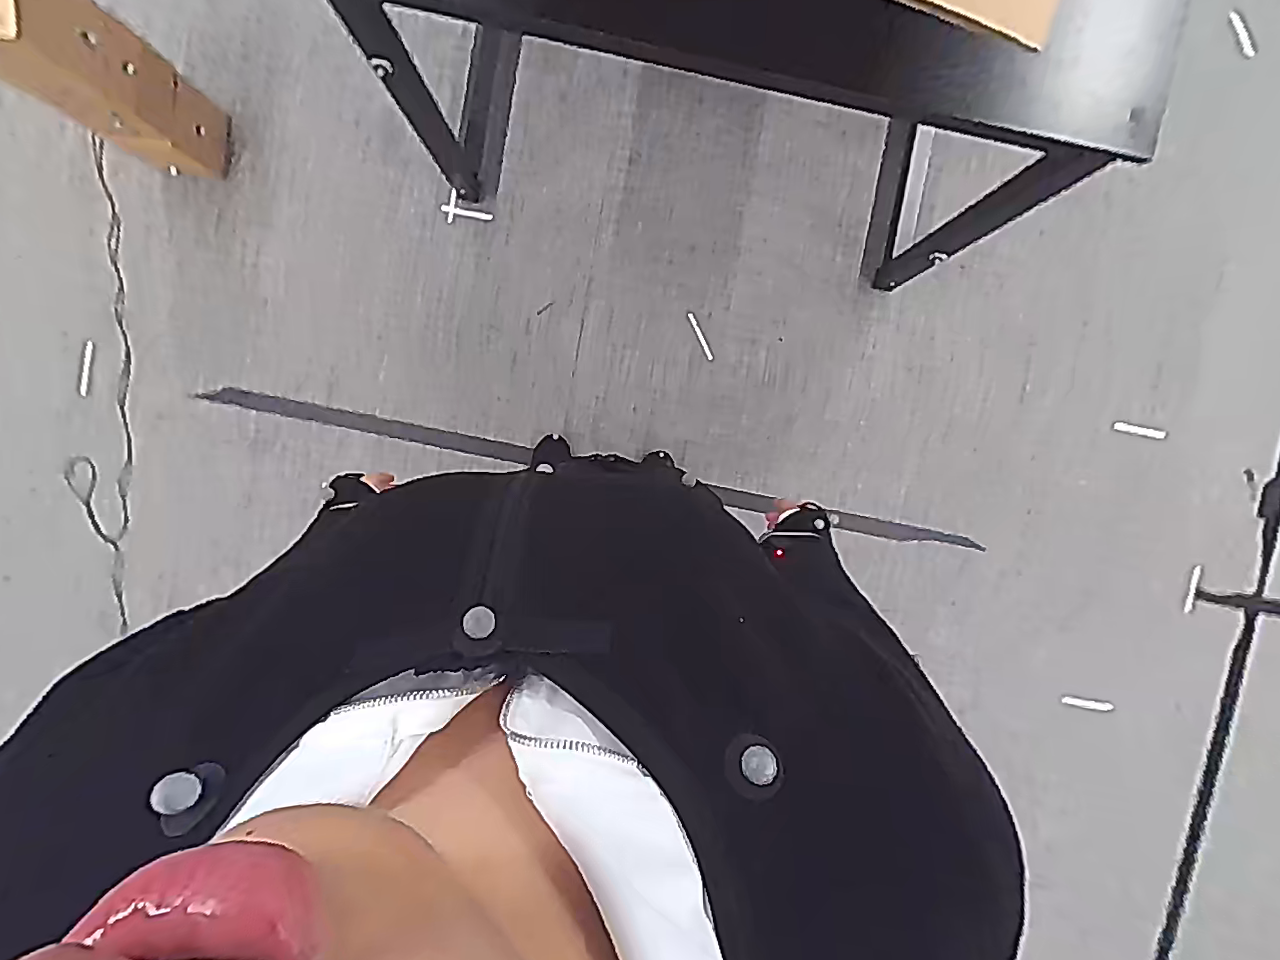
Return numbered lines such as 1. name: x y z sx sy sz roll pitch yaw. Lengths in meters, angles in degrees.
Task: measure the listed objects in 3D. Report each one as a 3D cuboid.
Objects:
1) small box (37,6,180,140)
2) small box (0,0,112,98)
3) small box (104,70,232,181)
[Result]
1. small box: -1.135 -0.865 1.157 0.168 0.176 0.179 4 92 -3
2. small box: -1.129 -0.851 0.993 0.168 0.176 0.179 2 93 -2
3. small box: -1.140 -0.868 1.319 0.168 0.176 0.179 8 94 -2
